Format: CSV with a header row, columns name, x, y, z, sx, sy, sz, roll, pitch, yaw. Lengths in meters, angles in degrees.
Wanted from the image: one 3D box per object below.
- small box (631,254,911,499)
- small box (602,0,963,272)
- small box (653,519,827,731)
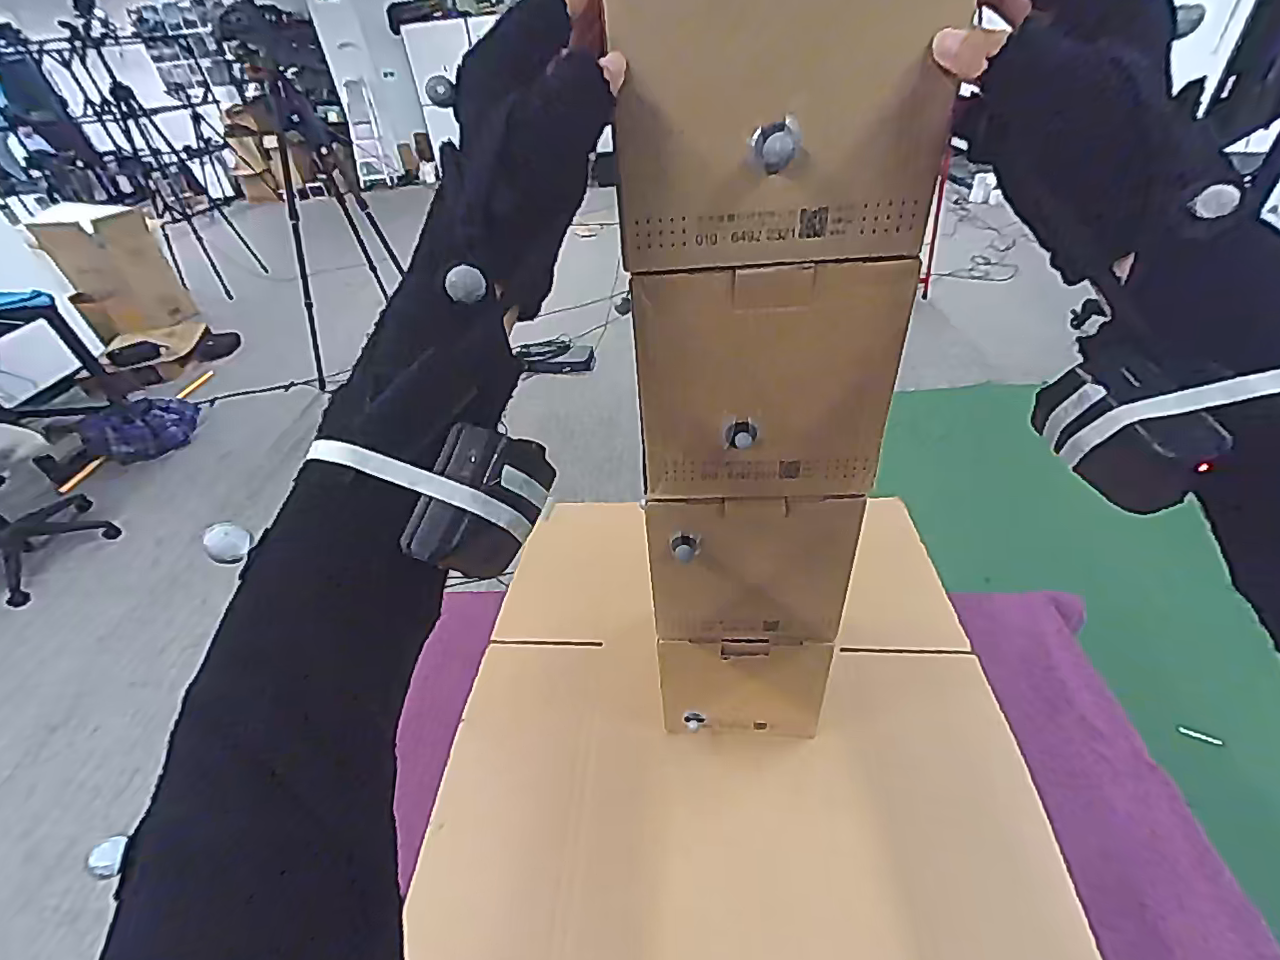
name,x,y,z,sx,sy,sz,roll,pitch,yaw
small box,0.083,-0.102,0.429,0.168,0.176,0.179,-2,36,4
small box,0.067,-0.235,0.331,0.168,0.176,0.179,-2,36,4
small box,0.107,0.164,0.618,0.168,0.176,0.179,-1,36,6
